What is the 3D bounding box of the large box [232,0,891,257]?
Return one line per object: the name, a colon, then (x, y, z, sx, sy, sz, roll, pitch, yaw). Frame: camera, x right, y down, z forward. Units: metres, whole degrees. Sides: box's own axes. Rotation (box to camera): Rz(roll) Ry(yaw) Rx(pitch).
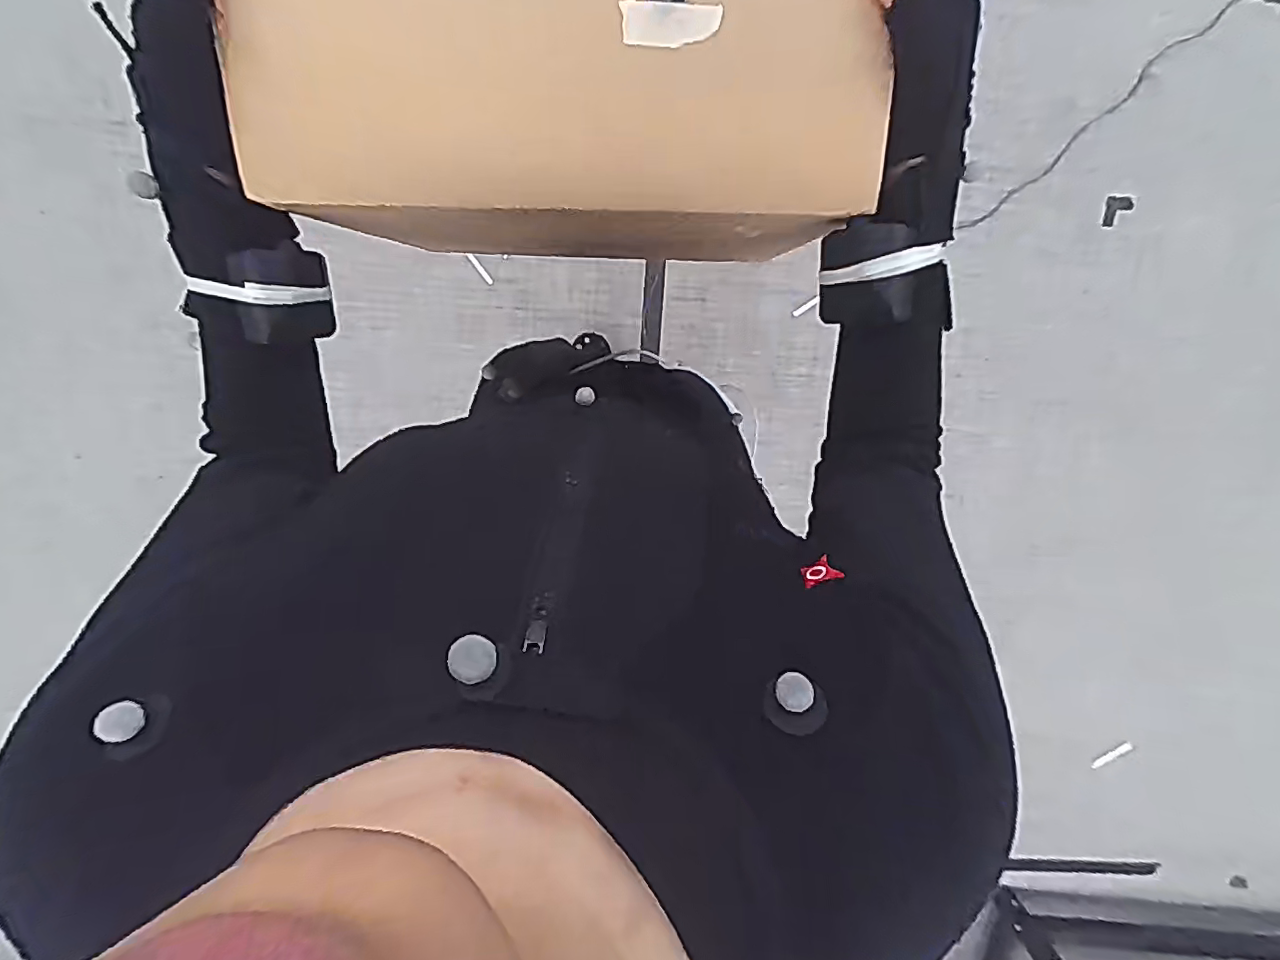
large box: (-0.047, -0.370, 0.456, 0.408, 0.320, 0.320, 1, 108, 0)
